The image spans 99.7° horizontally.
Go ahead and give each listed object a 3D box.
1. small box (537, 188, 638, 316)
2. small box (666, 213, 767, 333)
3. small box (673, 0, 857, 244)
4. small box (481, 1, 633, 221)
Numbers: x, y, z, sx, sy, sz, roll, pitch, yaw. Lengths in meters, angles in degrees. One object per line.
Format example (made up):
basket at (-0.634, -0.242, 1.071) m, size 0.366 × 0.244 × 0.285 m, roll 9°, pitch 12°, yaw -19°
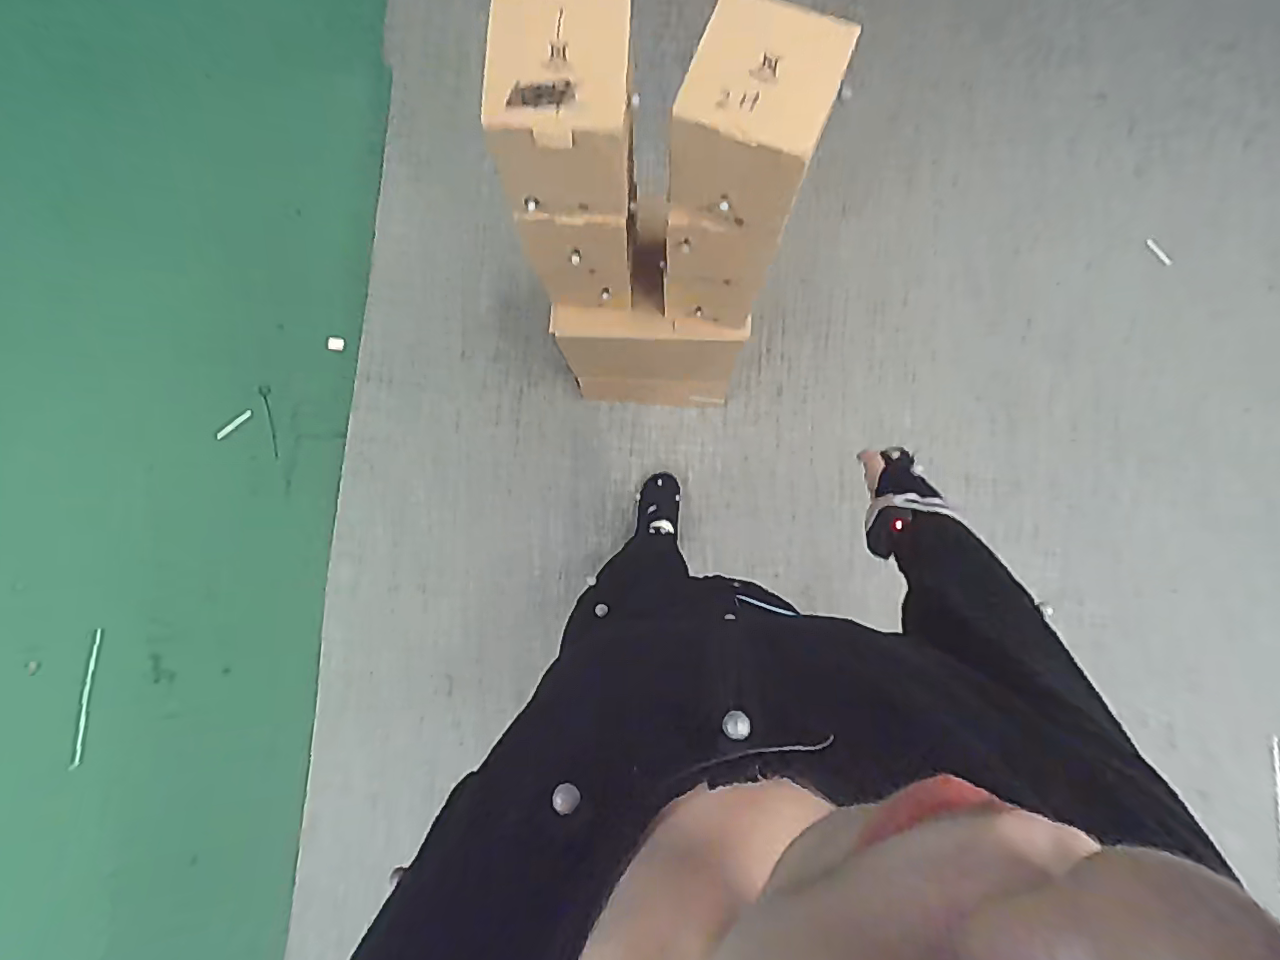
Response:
small box at (-0.092, -0.430, 1.031) m, size 0.168 × 0.176 × 0.179 m, roll 5°, pitch 83°, yaw 1°
small box at (0.141, -0.401, 1.016) m, size 0.168 × 0.176 × 0.179 m, roll 9°, pitch 84°, yaw 4°
small box at (0.144, -0.443, 0.690) m, size 0.168 × 0.176 × 0.179 m, roll 22°, pitch 84°, yaw 5°
small box at (-0.096, -0.465, 0.705) m, size 0.168 × 0.176 × 0.179 m, roll 3°, pitch 82°, yaw 0°
